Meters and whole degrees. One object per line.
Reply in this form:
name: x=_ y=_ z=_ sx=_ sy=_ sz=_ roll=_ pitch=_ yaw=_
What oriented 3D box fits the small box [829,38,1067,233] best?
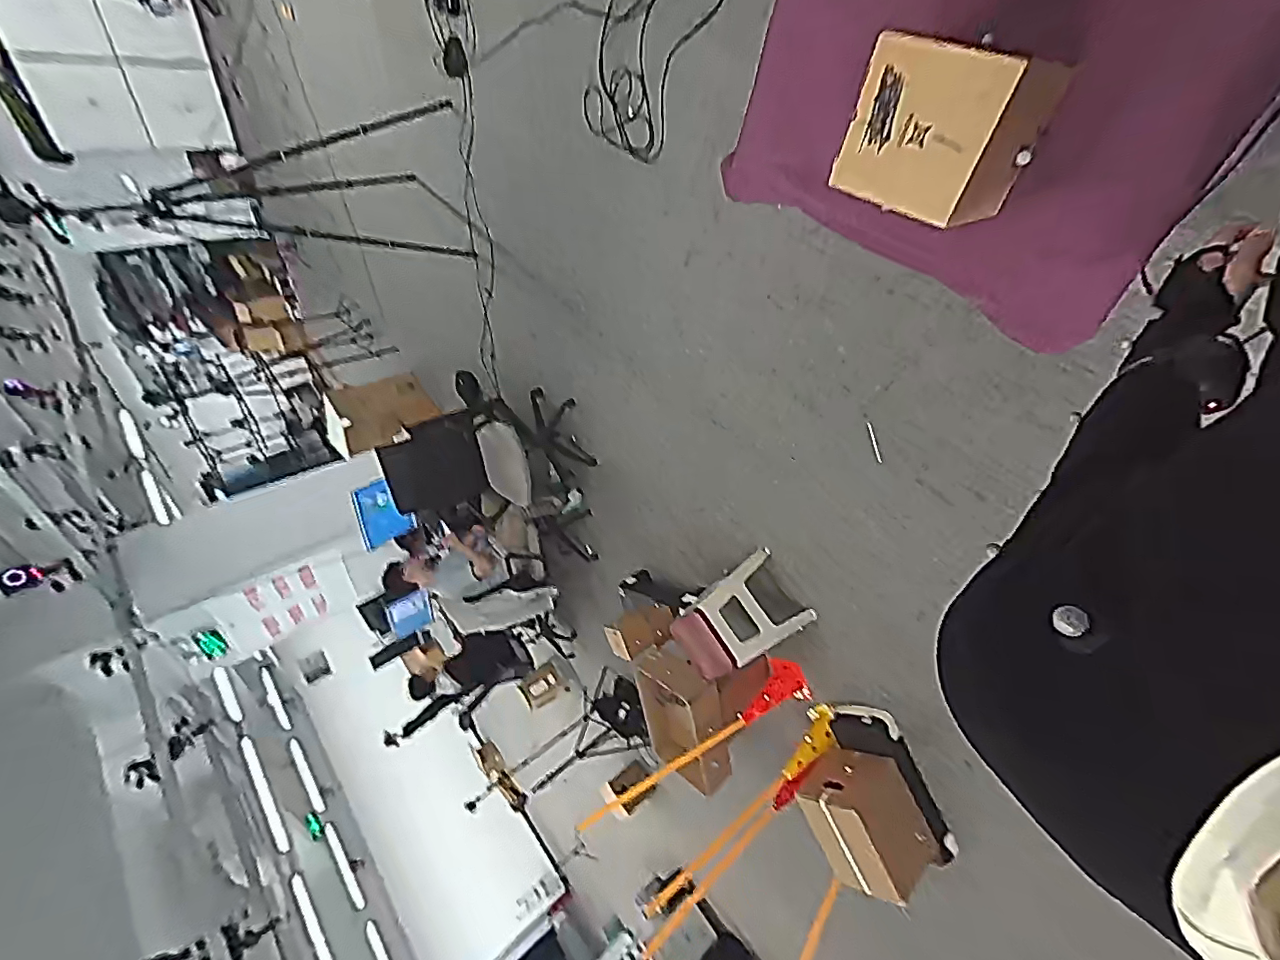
small box: x=0.383 y=-0.433 z=0.685 sx=0.179 sy=0.176 sz=0.168 roll=41 pitch=140 yaw=29
